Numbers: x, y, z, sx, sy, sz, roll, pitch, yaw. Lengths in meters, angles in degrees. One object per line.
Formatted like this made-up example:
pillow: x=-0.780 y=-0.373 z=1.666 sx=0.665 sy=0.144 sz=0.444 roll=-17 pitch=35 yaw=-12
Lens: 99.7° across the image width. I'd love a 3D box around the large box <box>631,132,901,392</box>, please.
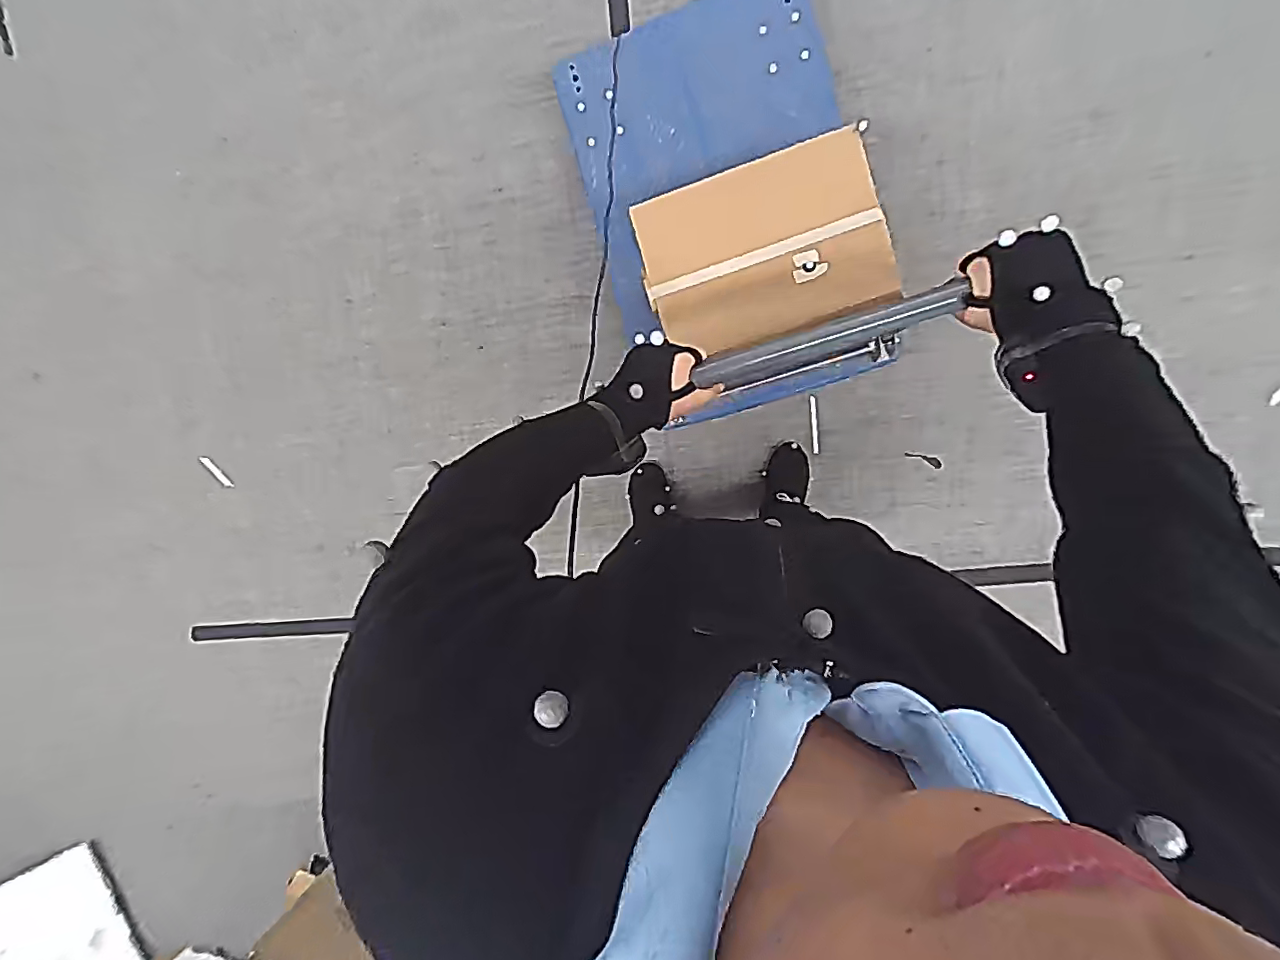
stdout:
large box: x=0.232 y=-0.393 z=1.085 sx=0.408 sy=0.320 sz=0.320 roll=-16 pitch=94 yaw=9
